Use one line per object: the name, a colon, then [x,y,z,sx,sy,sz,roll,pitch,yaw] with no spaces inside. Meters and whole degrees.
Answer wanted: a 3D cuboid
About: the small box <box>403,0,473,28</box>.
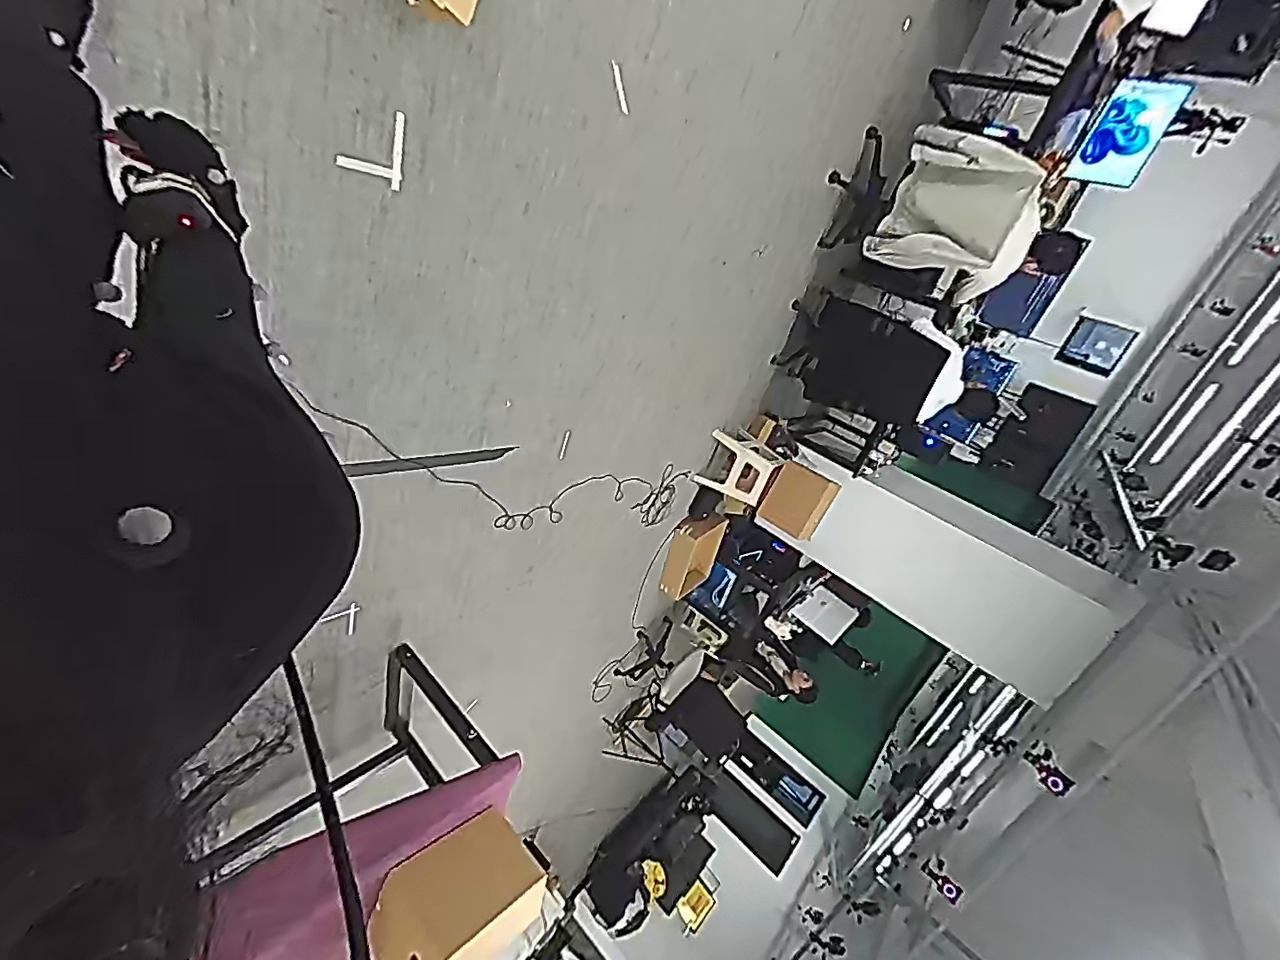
small box: [-0.451,-1.107,1.134,0.168,0.176,0.179,8,113,-59]
